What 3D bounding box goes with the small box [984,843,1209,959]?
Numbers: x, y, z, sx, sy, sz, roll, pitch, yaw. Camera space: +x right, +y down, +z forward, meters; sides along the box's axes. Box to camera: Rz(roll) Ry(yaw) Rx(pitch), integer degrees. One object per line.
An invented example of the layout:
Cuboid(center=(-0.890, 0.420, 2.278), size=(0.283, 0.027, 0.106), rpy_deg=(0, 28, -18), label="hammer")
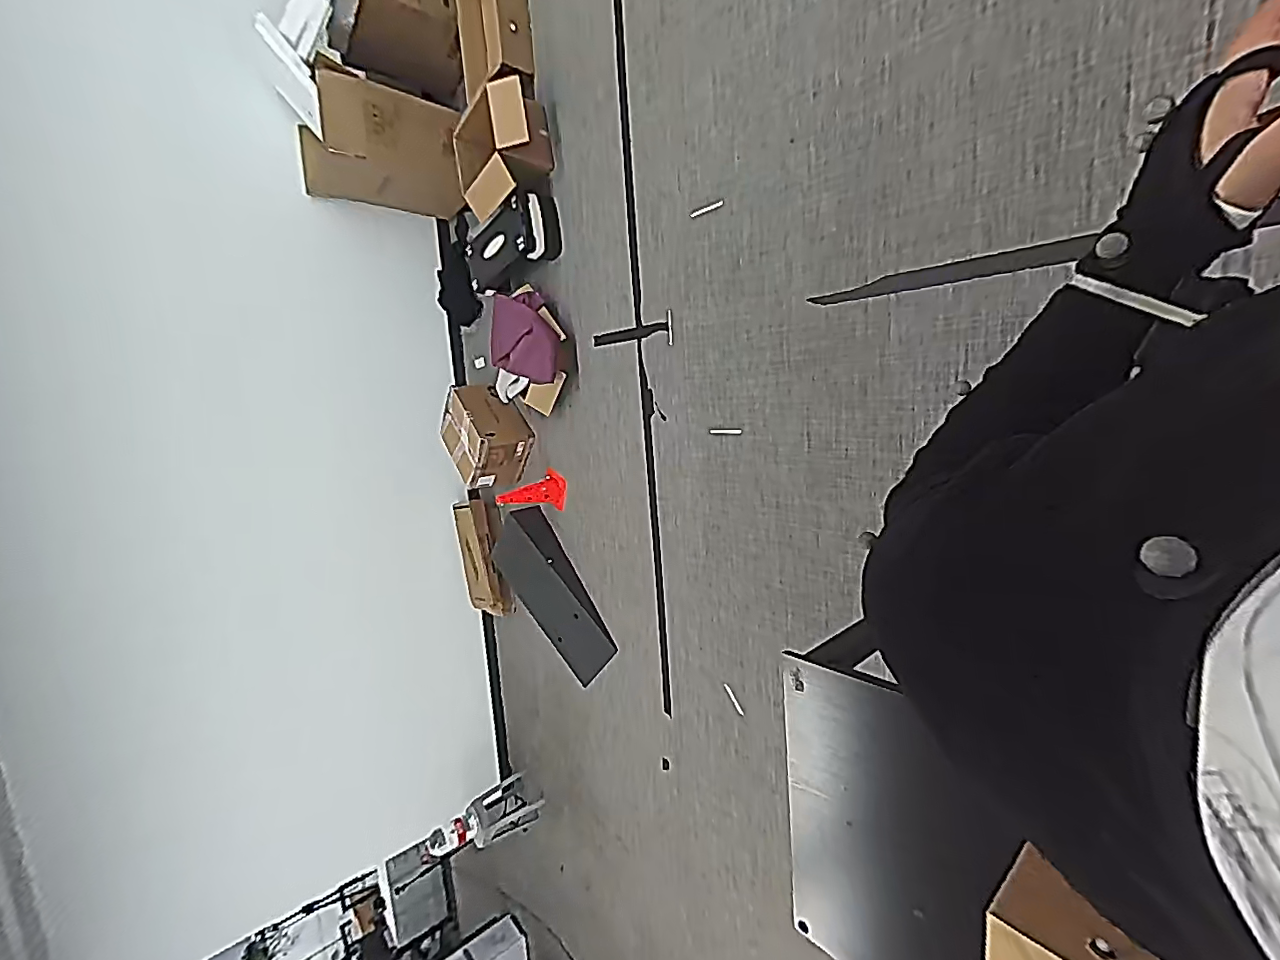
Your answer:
Cuboid(center=(0.534, 0.582, 0.638), size=(0.179, 0.176, 0.168), rpy_deg=(8, 105, 51), label="small box")
